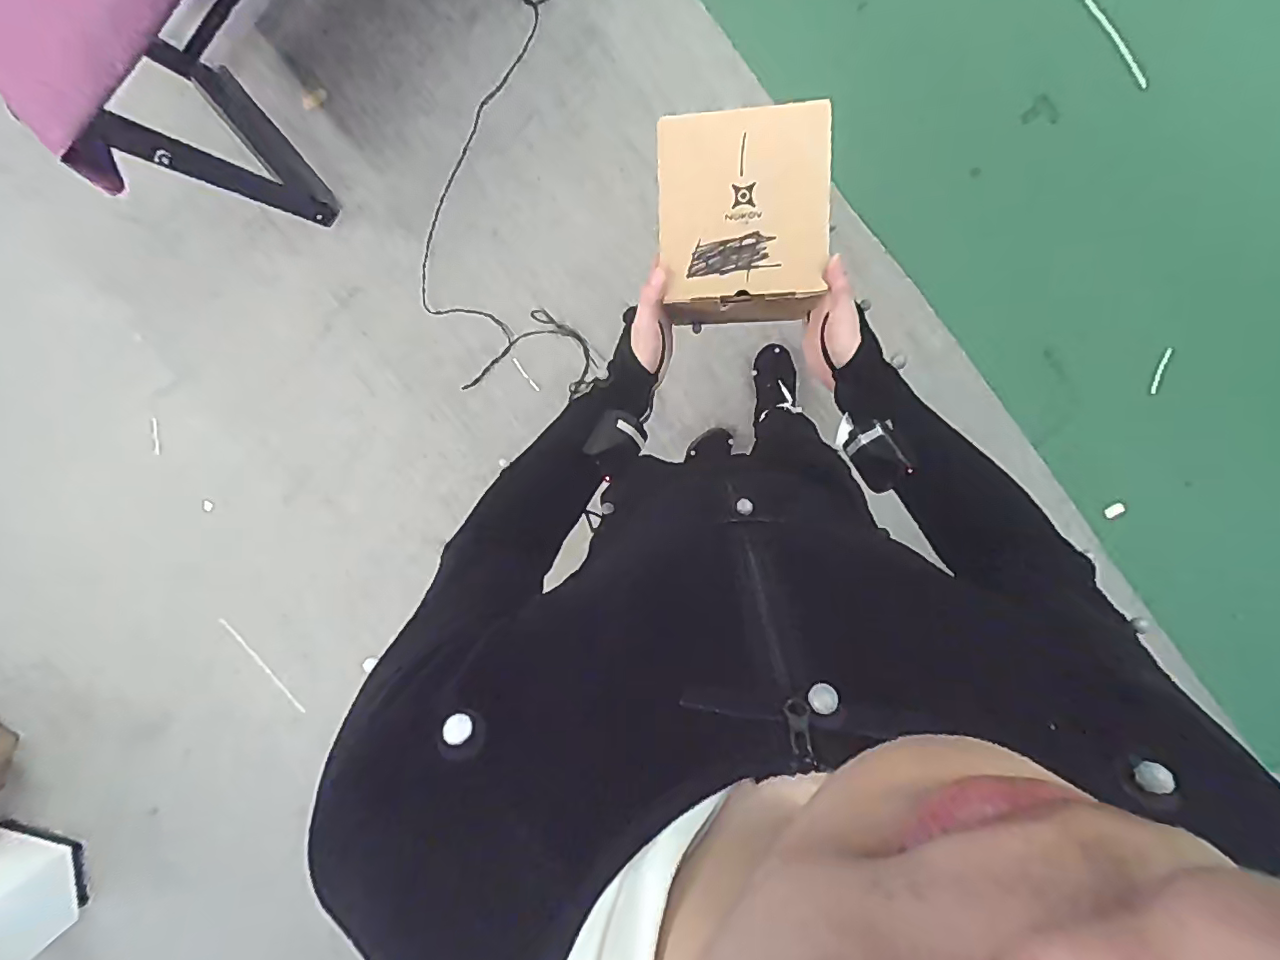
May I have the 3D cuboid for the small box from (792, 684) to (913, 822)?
[{"bbox_3d":[0.453,0.587,1.180,0.168,0.176,0.179,-34,94,14],"label":"small box"}]

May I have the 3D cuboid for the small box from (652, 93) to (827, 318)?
[{"bbox_3d":[0.106,-0.280,0.597,0.168,0.176,0.179,-1,97,9],"label":"small box"}]
